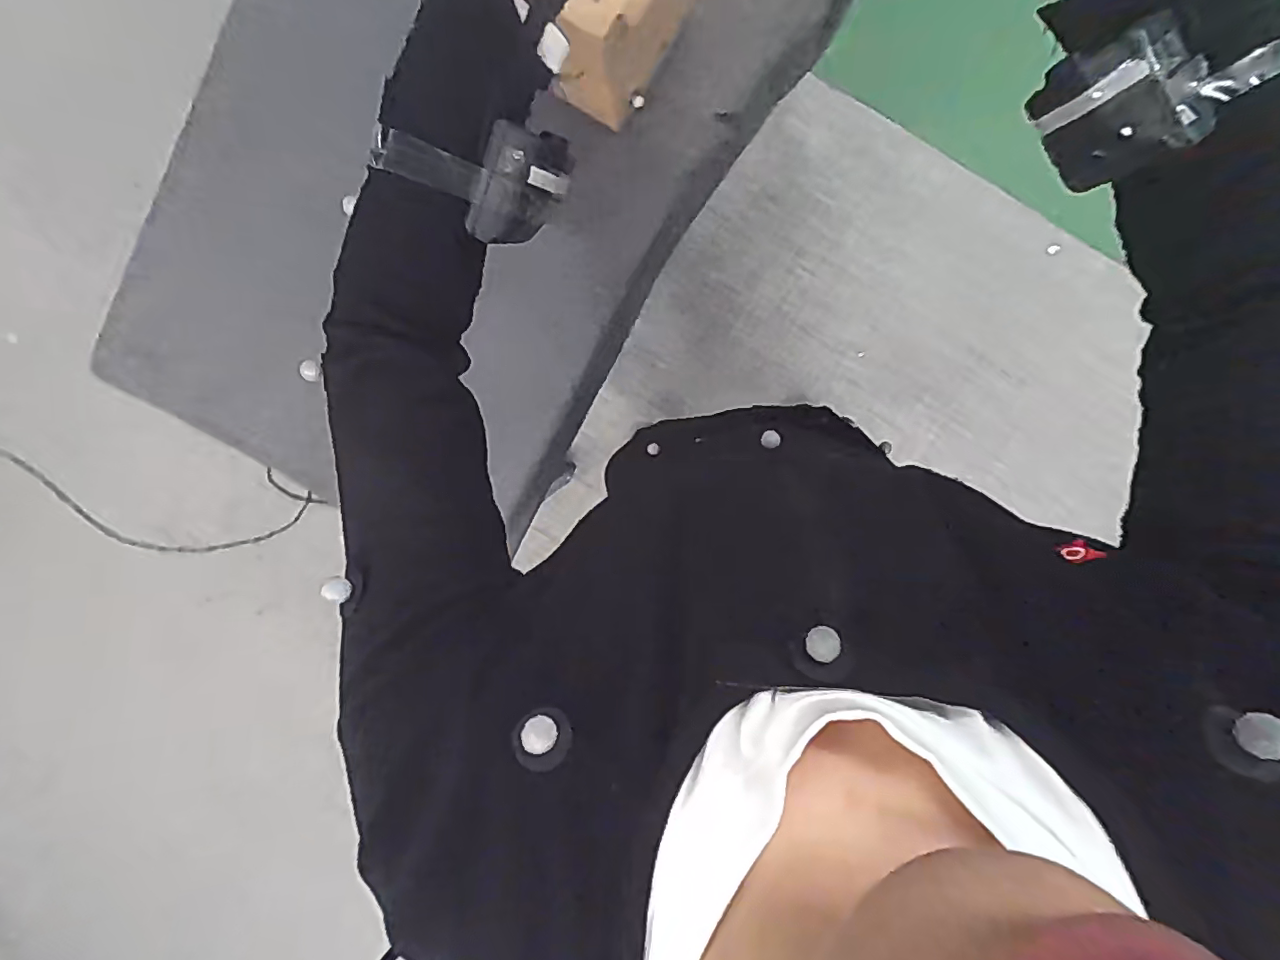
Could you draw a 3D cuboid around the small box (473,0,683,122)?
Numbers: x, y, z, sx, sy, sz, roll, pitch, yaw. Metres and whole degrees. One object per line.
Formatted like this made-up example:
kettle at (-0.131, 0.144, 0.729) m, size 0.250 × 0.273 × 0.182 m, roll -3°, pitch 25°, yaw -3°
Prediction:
small box at (-0.062, -0.535, 0.586) m, size 0.179 × 0.176 × 0.168 m, roll 32°, pitch 98°, yaw 0°
